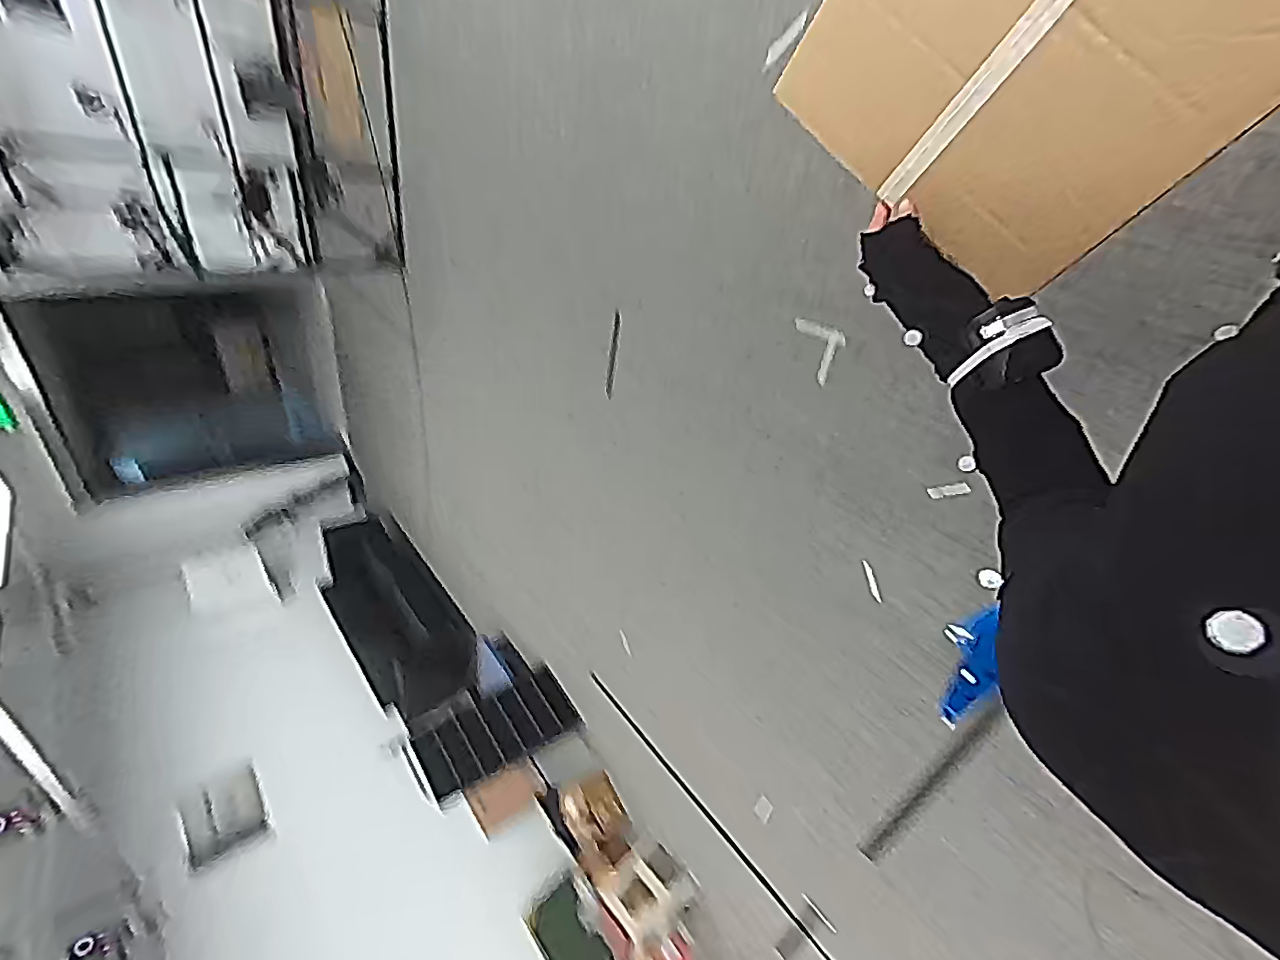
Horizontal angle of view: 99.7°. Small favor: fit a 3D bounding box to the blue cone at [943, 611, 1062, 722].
[{"bbox_3d":[0.870,0.499,1.362,0.193,0.380,0.192,56,141,21],"label":"blue cone"}]
